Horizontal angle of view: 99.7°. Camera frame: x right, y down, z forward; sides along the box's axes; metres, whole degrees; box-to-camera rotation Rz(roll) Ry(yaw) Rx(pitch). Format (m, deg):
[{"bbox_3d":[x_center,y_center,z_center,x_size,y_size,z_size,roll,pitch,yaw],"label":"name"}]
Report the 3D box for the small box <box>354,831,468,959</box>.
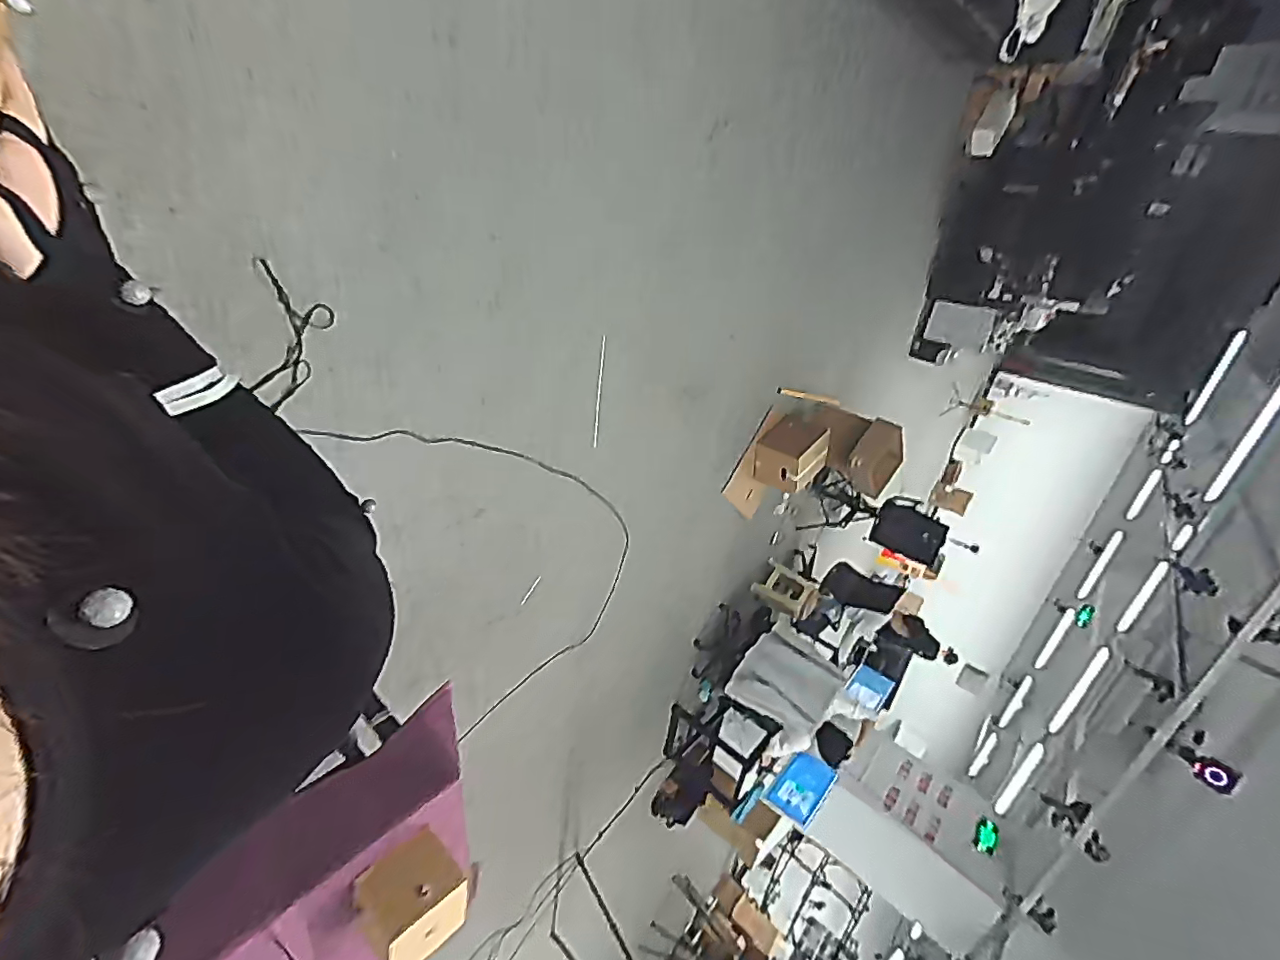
[{"bbox_3d":[-0.506,0.932,1.194,0.179,0.176,0.168,-16,125,-47],"label":"small box"}]
